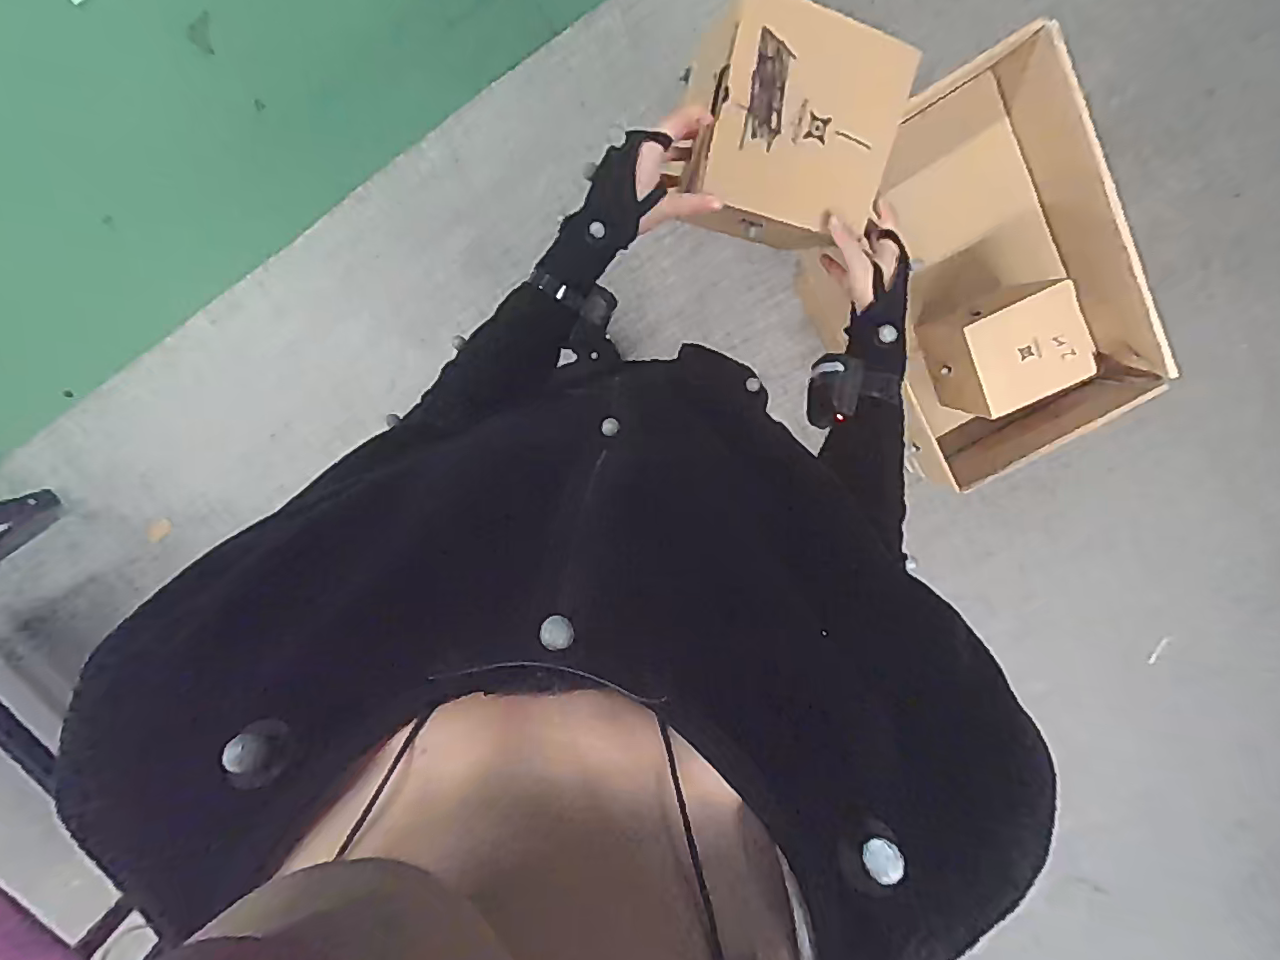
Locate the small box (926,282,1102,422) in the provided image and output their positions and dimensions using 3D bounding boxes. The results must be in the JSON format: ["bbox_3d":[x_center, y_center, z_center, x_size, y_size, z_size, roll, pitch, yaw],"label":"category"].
[{"bbox_3d":[0.622,-0.216,0.927,0.179,0.176,0.168,-25,103,7],"label":"small box"}]

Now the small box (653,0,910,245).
[{"bbox_3d":[0.124,-0.346,0.550,0.179,0.176,0.168,7,108,-16],"label":"small box"}]
